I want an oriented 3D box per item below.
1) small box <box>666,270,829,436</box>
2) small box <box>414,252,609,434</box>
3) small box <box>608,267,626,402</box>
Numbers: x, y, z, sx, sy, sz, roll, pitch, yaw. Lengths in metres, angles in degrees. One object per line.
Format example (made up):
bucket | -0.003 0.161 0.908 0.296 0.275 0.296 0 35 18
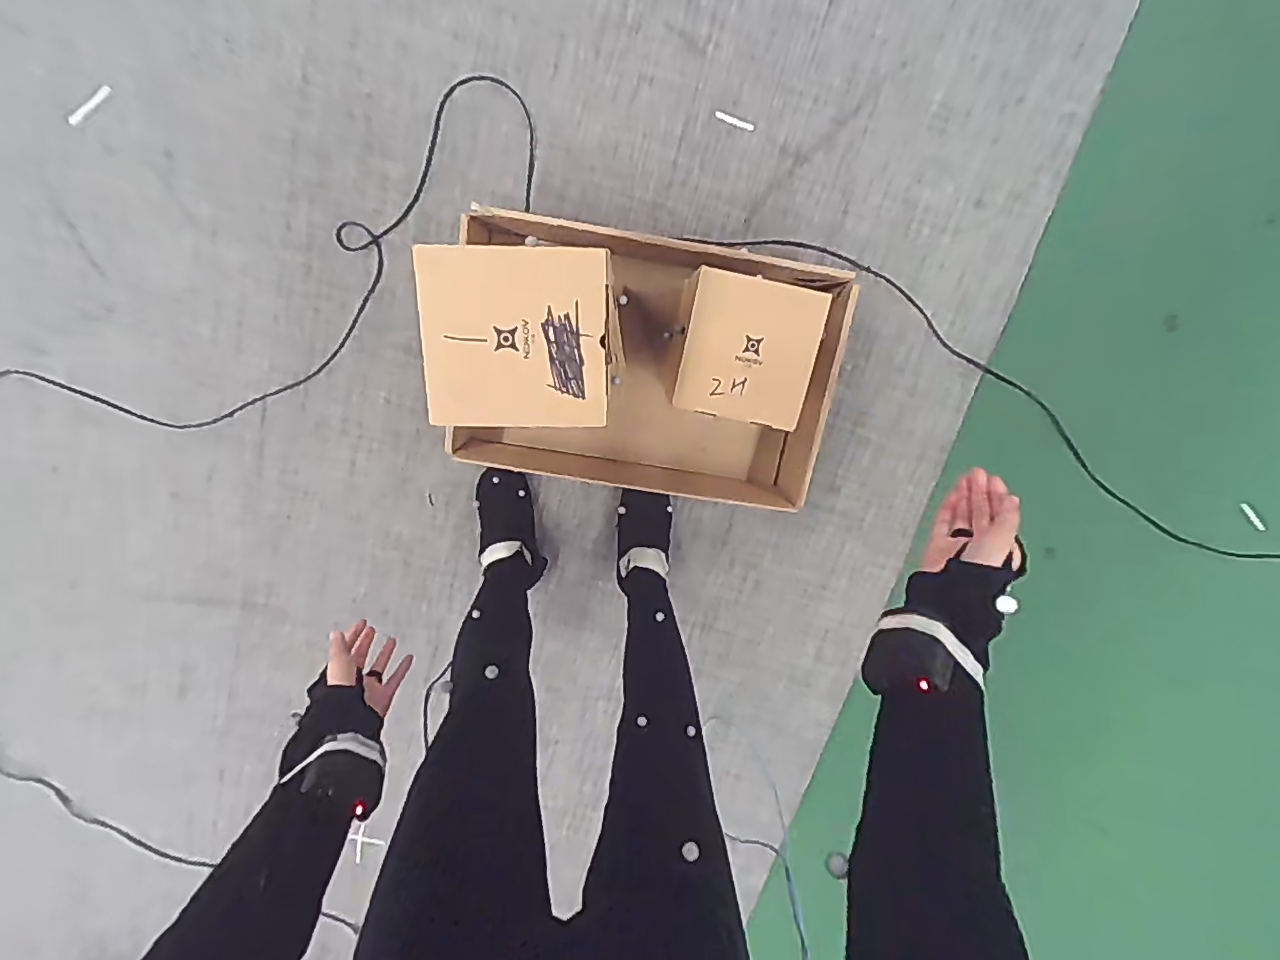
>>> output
small box | 0.133 -0.174 0.749 0.168 0.176 0.179 12 105 -3
small box | -0.122 -0.147 0.585 0.179 0.176 0.168 0 106 -2
small box | -0.115 -0.193 0.743 0.179 0.176 0.168 -6 106 0
